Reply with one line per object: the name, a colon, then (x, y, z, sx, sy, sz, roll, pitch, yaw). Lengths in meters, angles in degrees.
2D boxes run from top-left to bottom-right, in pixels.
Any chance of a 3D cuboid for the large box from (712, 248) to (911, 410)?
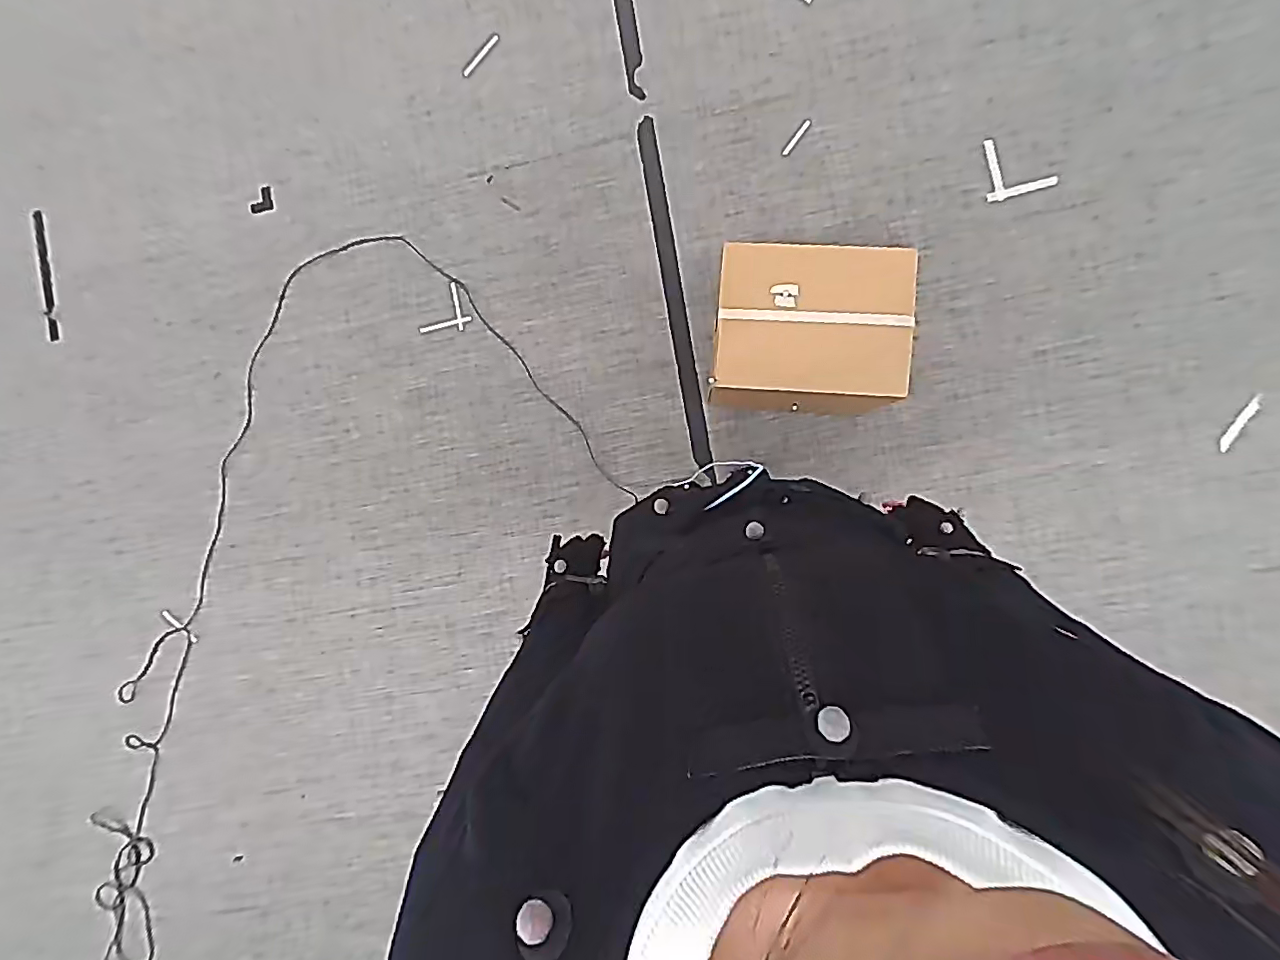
large box: (0.387, -0.344, 1.306, 0.408, 0.320, 0.320, 4, 89, 6)
